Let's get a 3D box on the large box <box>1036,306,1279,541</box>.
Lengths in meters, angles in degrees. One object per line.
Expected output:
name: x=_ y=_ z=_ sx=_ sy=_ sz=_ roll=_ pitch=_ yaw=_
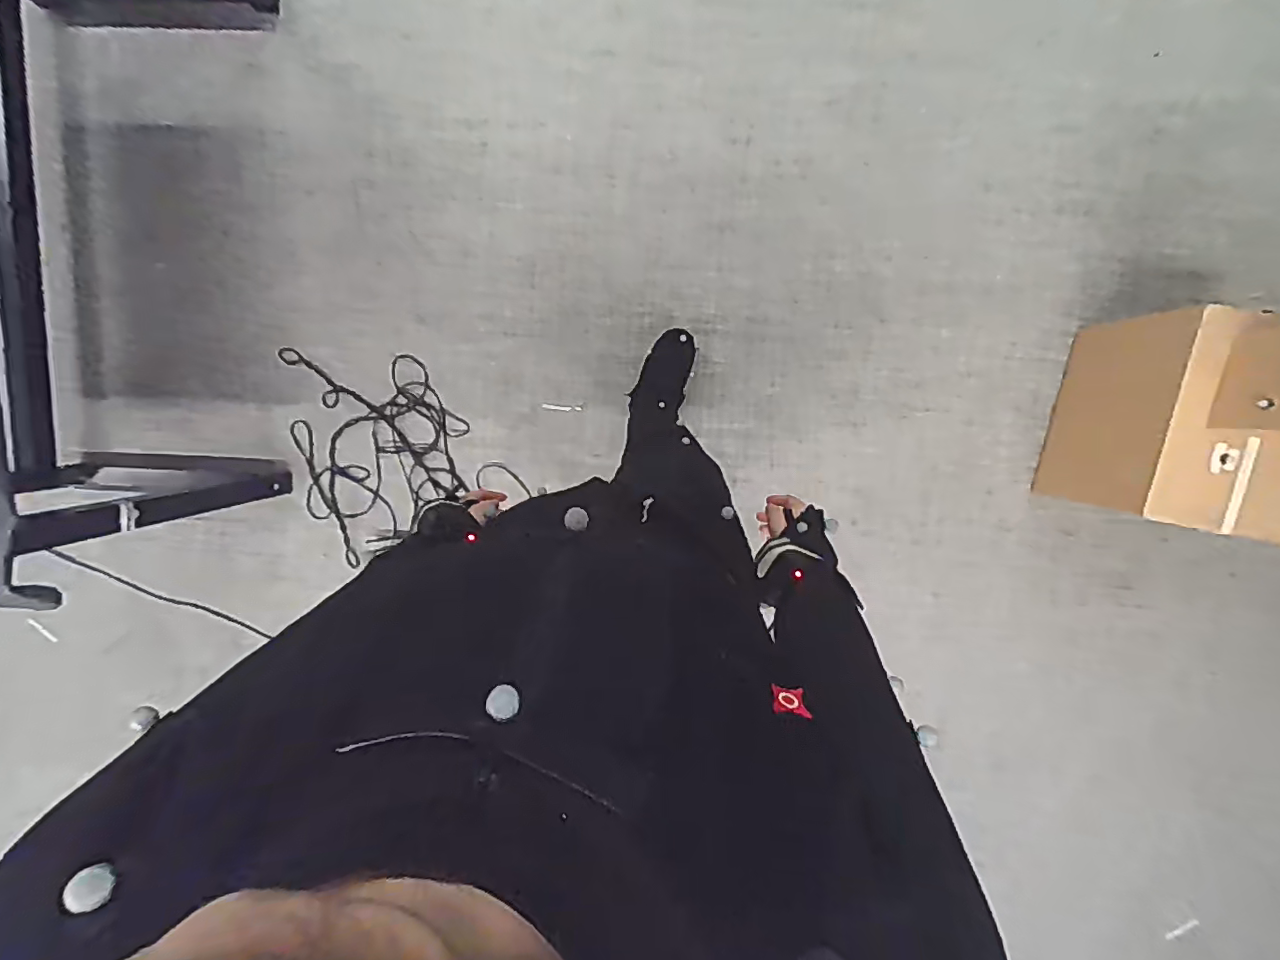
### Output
large box: x=1.134 y=-0.121 z=1.142 sx=0.320 sy=0.320 sz=0.408 roll=10 pitch=99 yaw=2

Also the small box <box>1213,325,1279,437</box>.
small box: x=1.124 y=-0.158 z=0.893 sx=0.168 sy=0.176 sz=0.179 roll=10 pitch=97 yaw=0
